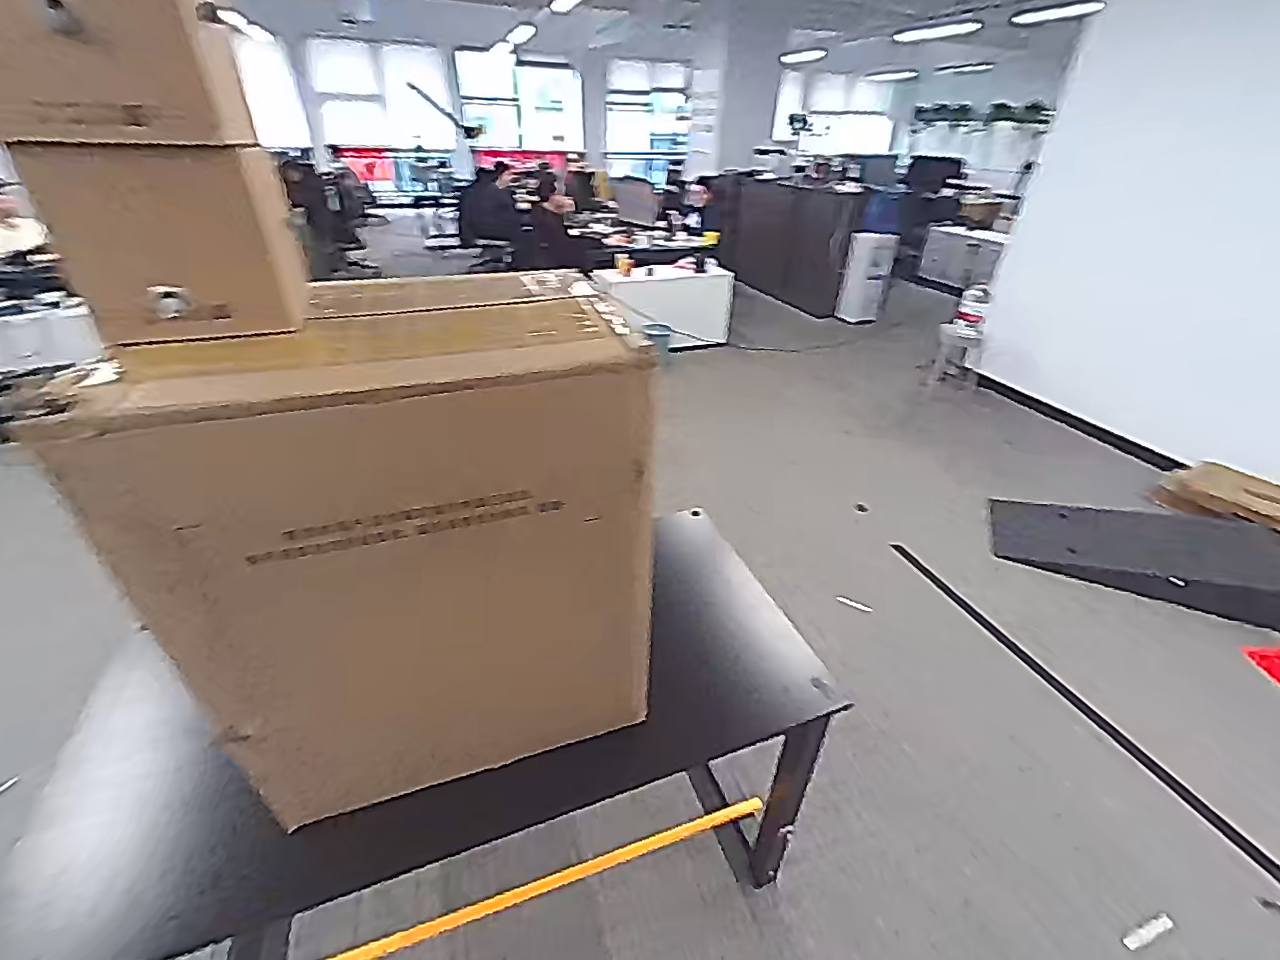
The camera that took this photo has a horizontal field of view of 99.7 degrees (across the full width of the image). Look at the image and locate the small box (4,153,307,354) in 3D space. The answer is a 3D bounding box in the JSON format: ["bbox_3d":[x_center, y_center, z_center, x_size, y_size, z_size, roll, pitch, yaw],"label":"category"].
[{"bbox_3d":[-0.465,-0.241,0.562,0.168,0.176,0.179,-13,35,-21],"label":"small box"}]

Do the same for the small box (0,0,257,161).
[{"bbox_3d":[-0.460,-0.372,0.462,0.168,0.176,0.179,-12,35,-20],"label":"small box"}]
